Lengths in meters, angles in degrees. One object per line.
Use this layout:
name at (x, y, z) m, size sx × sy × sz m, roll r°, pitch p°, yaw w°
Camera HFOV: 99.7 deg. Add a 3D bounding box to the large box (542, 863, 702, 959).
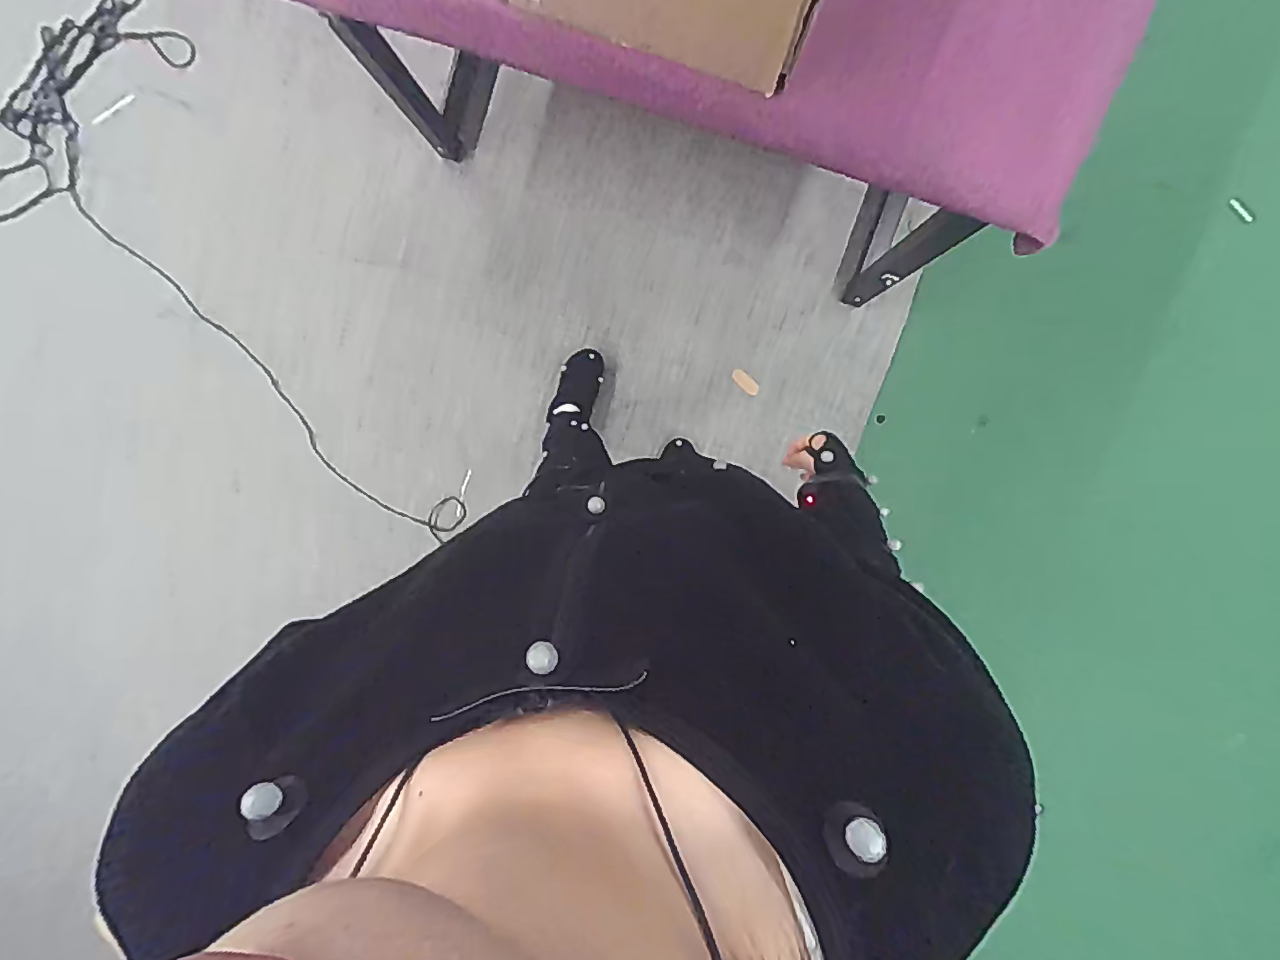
large box at (-0.050, 1.324, 1.486) m, size 0.408 × 0.320 × 0.320 m, roll 4°, pitch 97°, yaw 2°
